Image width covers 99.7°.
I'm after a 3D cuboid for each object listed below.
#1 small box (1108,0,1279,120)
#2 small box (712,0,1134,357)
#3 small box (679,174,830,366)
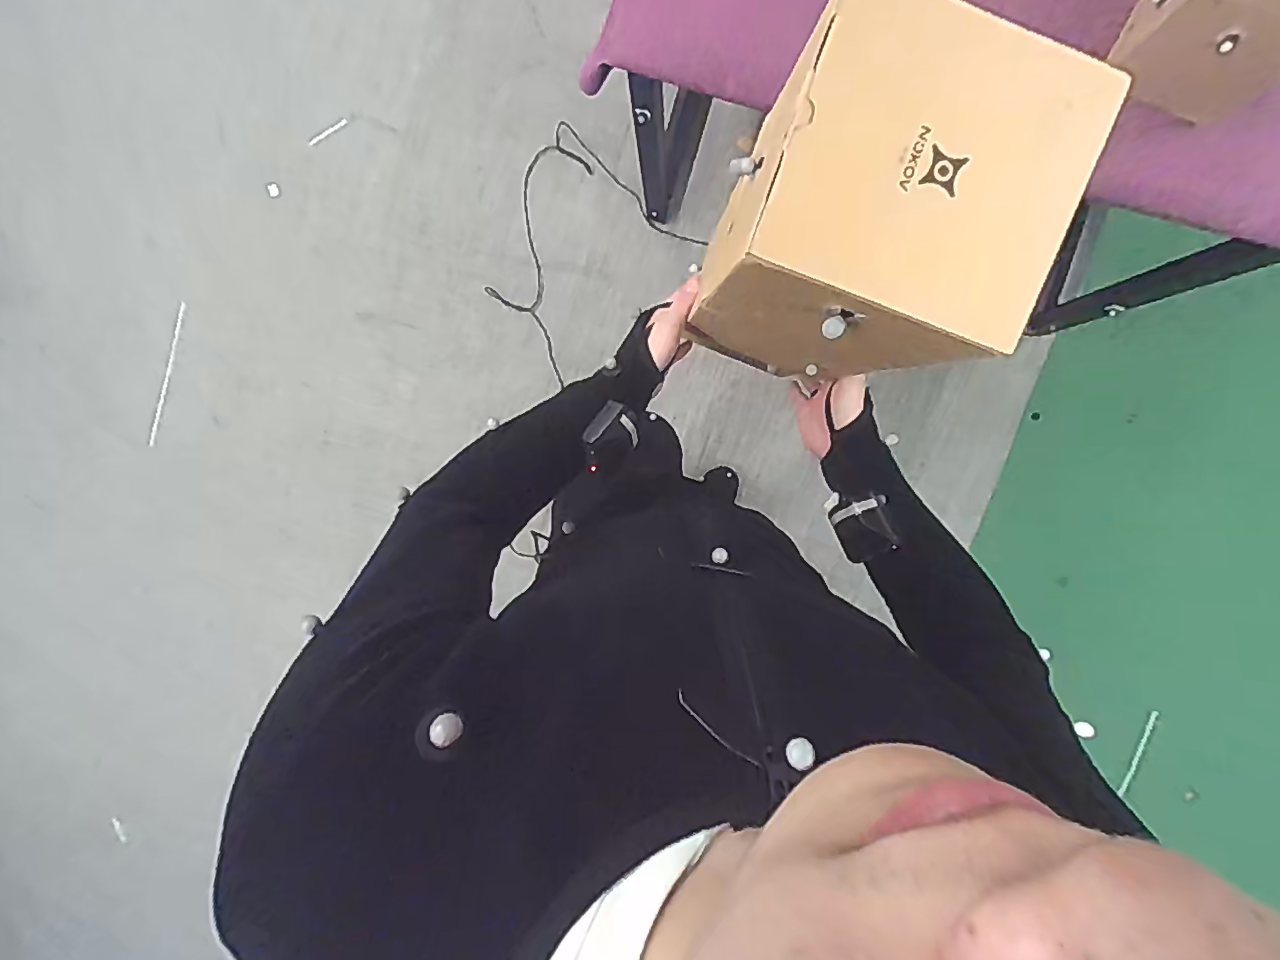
[{"bbox_3d":[0.786,-0.626,0.714,0.179,0.176,0.168,28,95,1],"label":"small box"},{"bbox_3d":[0.168,-0.193,0.386,0.179,0.176,0.168,19,98,-4],"label":"small box"},{"bbox_3d":[0.164,-0.255,0.707,0.179,0.176,0.168,21,97,-4],"label":"small box"}]
